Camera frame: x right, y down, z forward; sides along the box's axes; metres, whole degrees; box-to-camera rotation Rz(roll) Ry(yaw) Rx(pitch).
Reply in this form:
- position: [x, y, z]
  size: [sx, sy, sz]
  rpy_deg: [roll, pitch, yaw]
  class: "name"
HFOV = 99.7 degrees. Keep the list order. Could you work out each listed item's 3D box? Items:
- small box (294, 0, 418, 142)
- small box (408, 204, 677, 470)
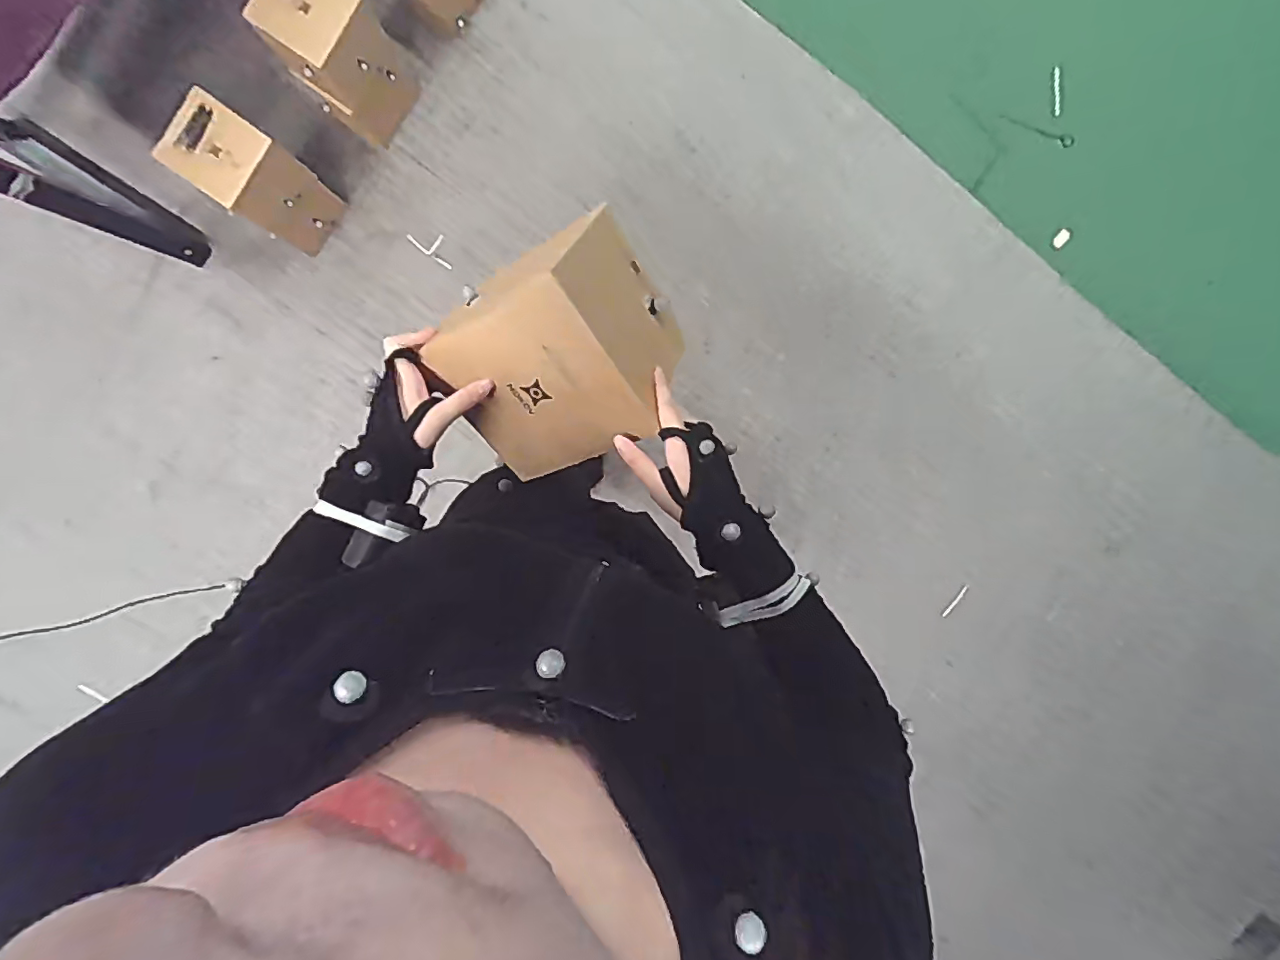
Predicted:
- position: [-0.667, -0.964, 1.295]
  size: [0.168, 0.176, 0.179]
  rpy_deg: [35, 94, -5]
  class: "small box"
- position: [-0.083, -0.140, 0.546]
  size: [0.179, 0.176, 0.168]
  rpy_deg: [-17, 126, 31]
  class: "small box"
